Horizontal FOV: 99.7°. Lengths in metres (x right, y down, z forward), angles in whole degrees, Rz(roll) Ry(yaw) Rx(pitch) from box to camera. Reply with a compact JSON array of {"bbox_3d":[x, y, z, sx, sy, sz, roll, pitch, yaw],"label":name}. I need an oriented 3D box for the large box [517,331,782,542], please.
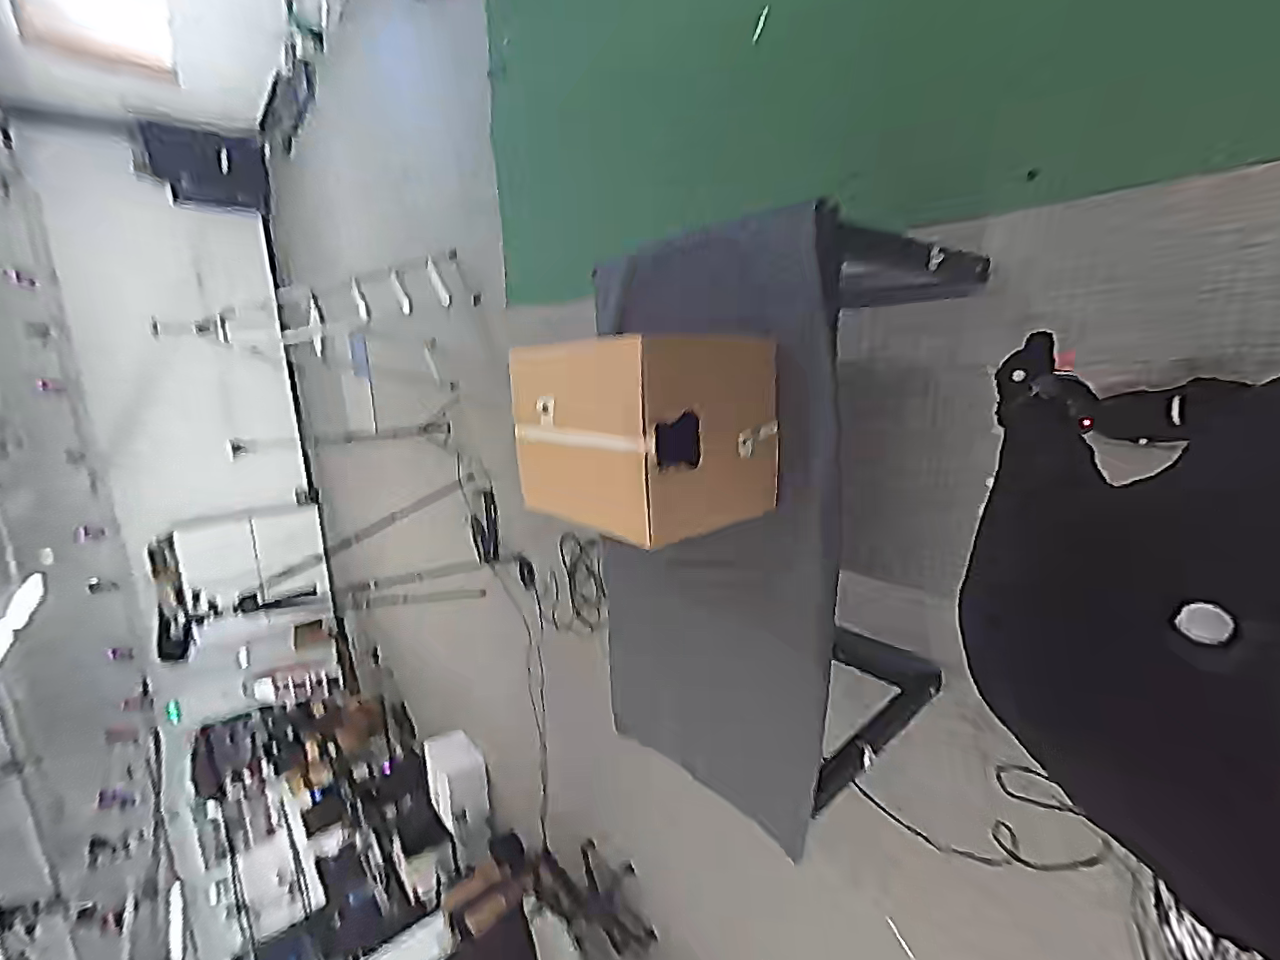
[{"bbox_3d":[0.011,-0.100,1.021,0.408,0.320,0.320,10,107,50],"label":"large box"}]
